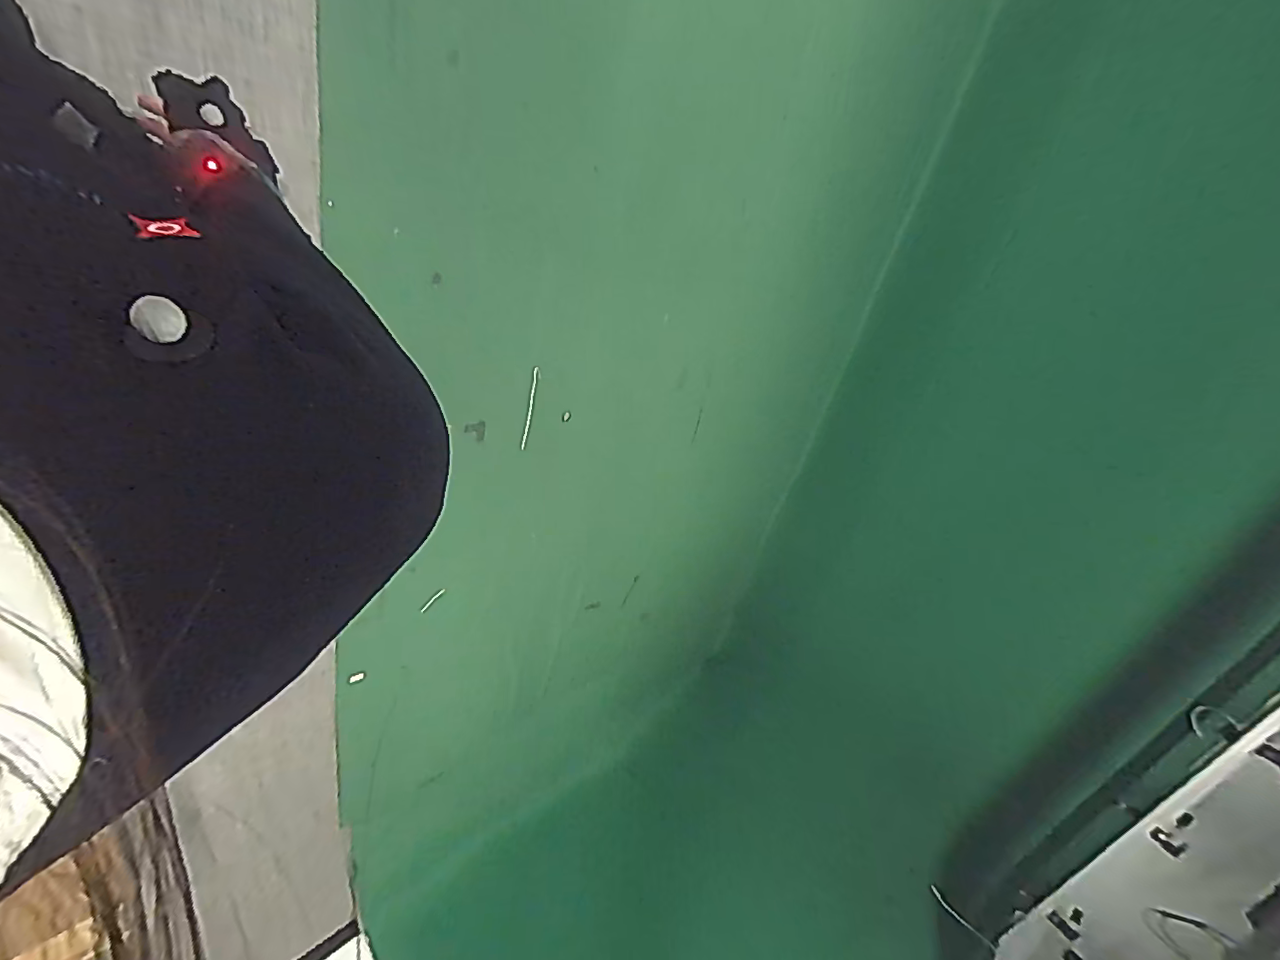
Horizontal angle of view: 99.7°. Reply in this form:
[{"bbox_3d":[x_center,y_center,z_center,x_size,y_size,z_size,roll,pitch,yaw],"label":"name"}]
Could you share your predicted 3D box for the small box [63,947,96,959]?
[{"bbox_3d":[-1.424,1.301,1.300,0.179,0.176,0.168,-9,122,-48],"label":"small box"}]
